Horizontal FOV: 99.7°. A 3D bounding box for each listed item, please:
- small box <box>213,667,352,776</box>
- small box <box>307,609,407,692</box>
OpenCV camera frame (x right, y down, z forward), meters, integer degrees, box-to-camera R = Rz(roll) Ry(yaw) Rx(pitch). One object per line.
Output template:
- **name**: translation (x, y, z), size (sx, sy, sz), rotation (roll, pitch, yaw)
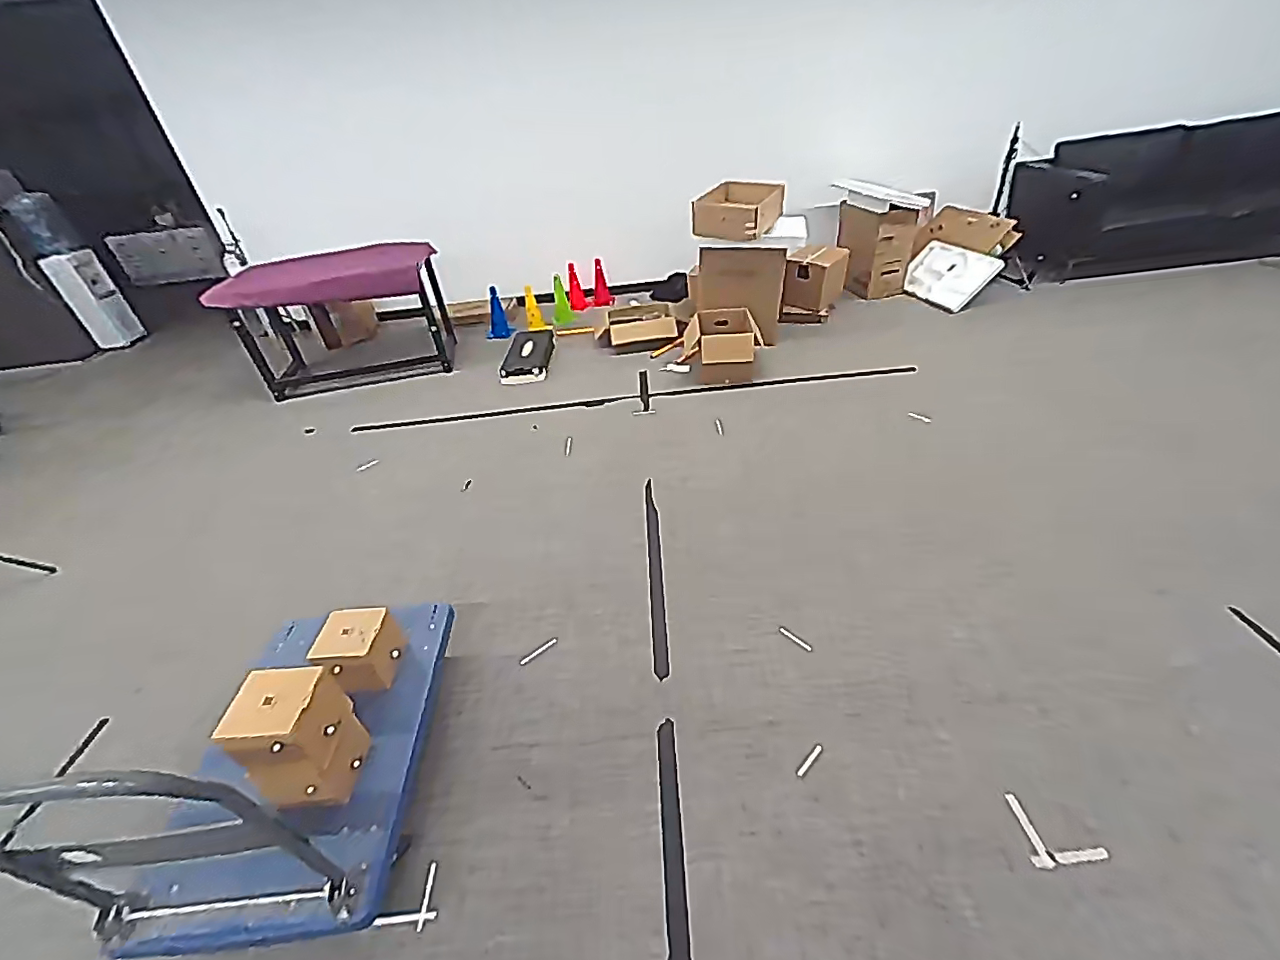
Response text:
- **small box**: translation (-0.799, 0.551, 1.231), size (0.179, 0.176, 0.168), rotation (-5, 36, 1)
- **small box**: translation (-0.813, 0.499, 1.575), size (0.179, 0.176, 0.168), rotation (-4, 37, 3)
